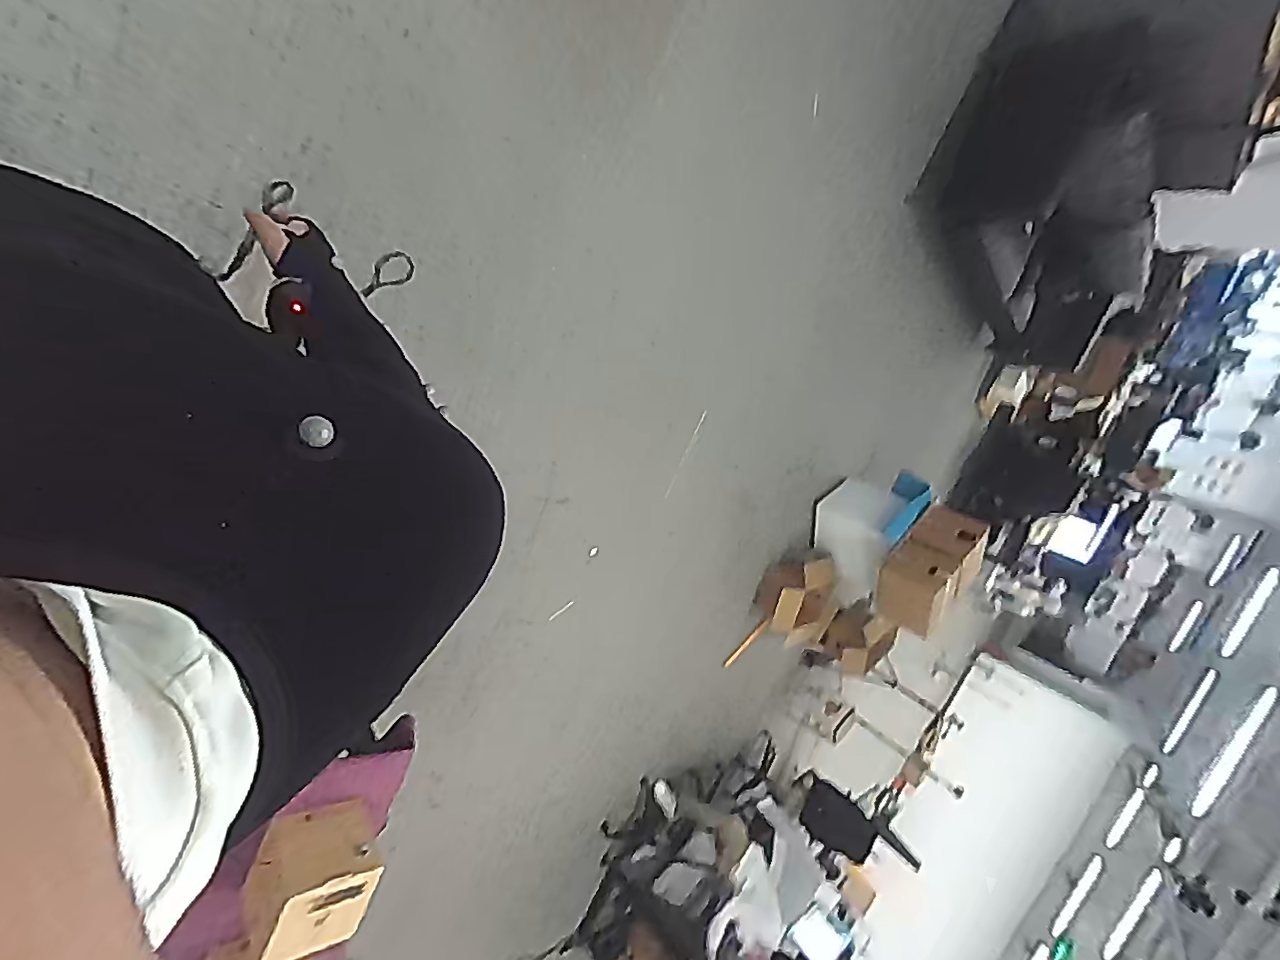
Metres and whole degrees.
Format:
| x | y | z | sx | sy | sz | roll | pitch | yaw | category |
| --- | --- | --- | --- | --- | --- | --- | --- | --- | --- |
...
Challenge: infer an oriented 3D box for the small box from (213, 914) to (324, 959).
| x | y | z | sx | sy | sz | roll | pitch | yaw | category |
| --- | --- | --- | --- | --- | --- | --- | --- | --- | --- |
| -0.755 | 1.019 | 1.079 | 0.168 | 0.176 | 0.179 | 15 | 102 | -46 | small box |
